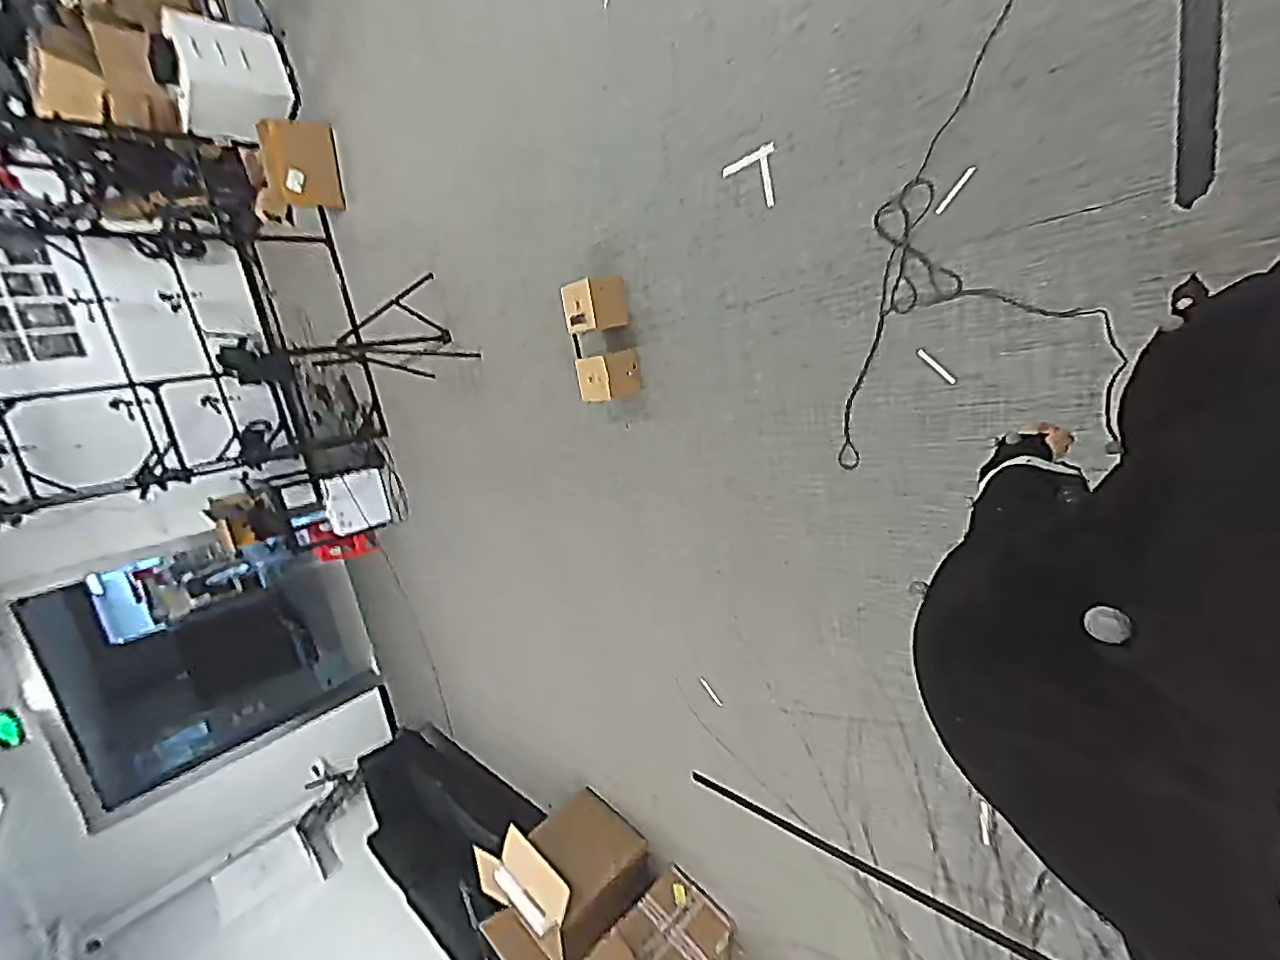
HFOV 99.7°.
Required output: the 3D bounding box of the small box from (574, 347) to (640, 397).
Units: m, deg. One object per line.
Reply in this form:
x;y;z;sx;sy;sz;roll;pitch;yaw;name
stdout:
-0.125;-0.416;2.089;0.179;0.176;0.168;5;110;45;small box
